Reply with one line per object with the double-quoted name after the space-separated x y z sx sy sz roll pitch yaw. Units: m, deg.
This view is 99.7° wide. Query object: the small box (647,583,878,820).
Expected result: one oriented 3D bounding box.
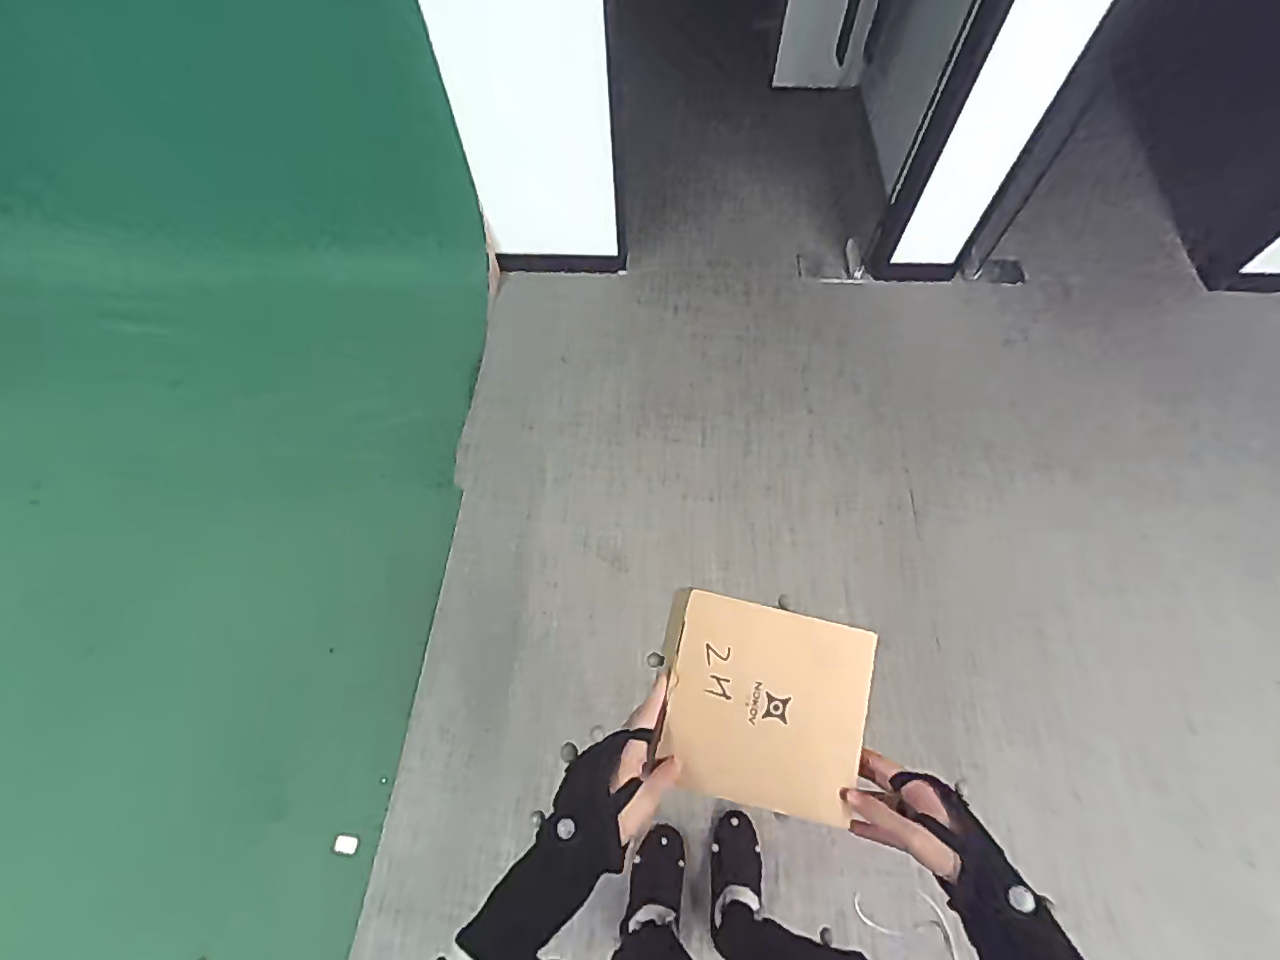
0.110 0.206 0.548 0.179 0.176 0.168 13 77 3 "small box"
